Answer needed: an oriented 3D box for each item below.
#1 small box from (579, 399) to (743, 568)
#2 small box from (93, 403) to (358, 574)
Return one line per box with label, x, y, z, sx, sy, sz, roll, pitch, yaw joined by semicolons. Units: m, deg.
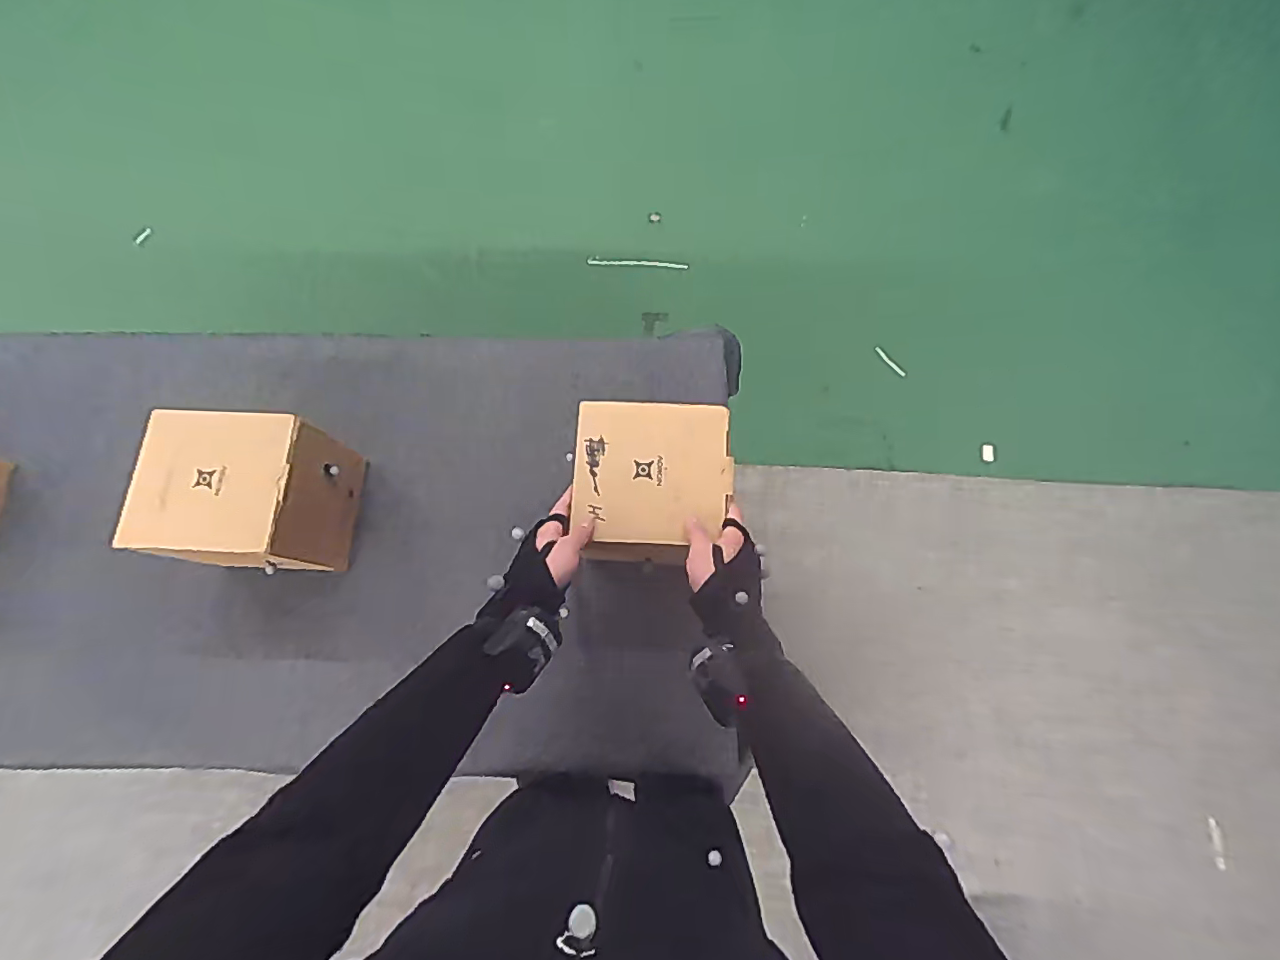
small box;0.023;0.014;0.671;0.179;0.176;0.168;3;73;-1
small box;-0.474;0.019;0.655;0.179;0.176;0.168;2;72;0
